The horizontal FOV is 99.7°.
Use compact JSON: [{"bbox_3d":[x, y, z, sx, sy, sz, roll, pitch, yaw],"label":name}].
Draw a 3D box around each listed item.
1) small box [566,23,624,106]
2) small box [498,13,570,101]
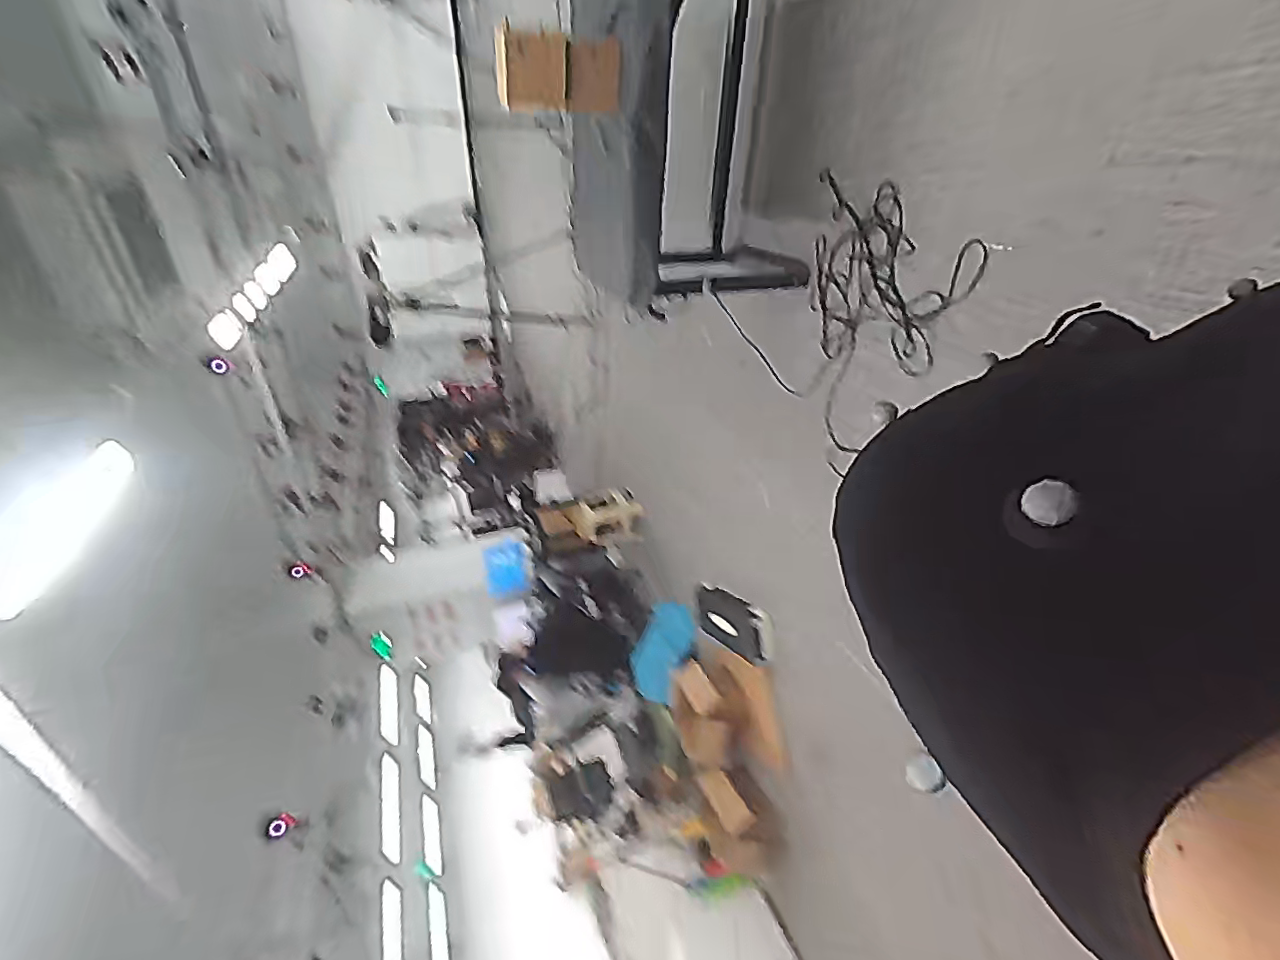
[{"bbox_3d":[-0.150,-1.212,1.578,0.168,0.176,0.179,-118,26,-45],"label":"small box"},{"bbox_3d":[-0.294,-1.176,1.508,0.168,0.176,0.179,-118,26,-43],"label":"small box"}]
